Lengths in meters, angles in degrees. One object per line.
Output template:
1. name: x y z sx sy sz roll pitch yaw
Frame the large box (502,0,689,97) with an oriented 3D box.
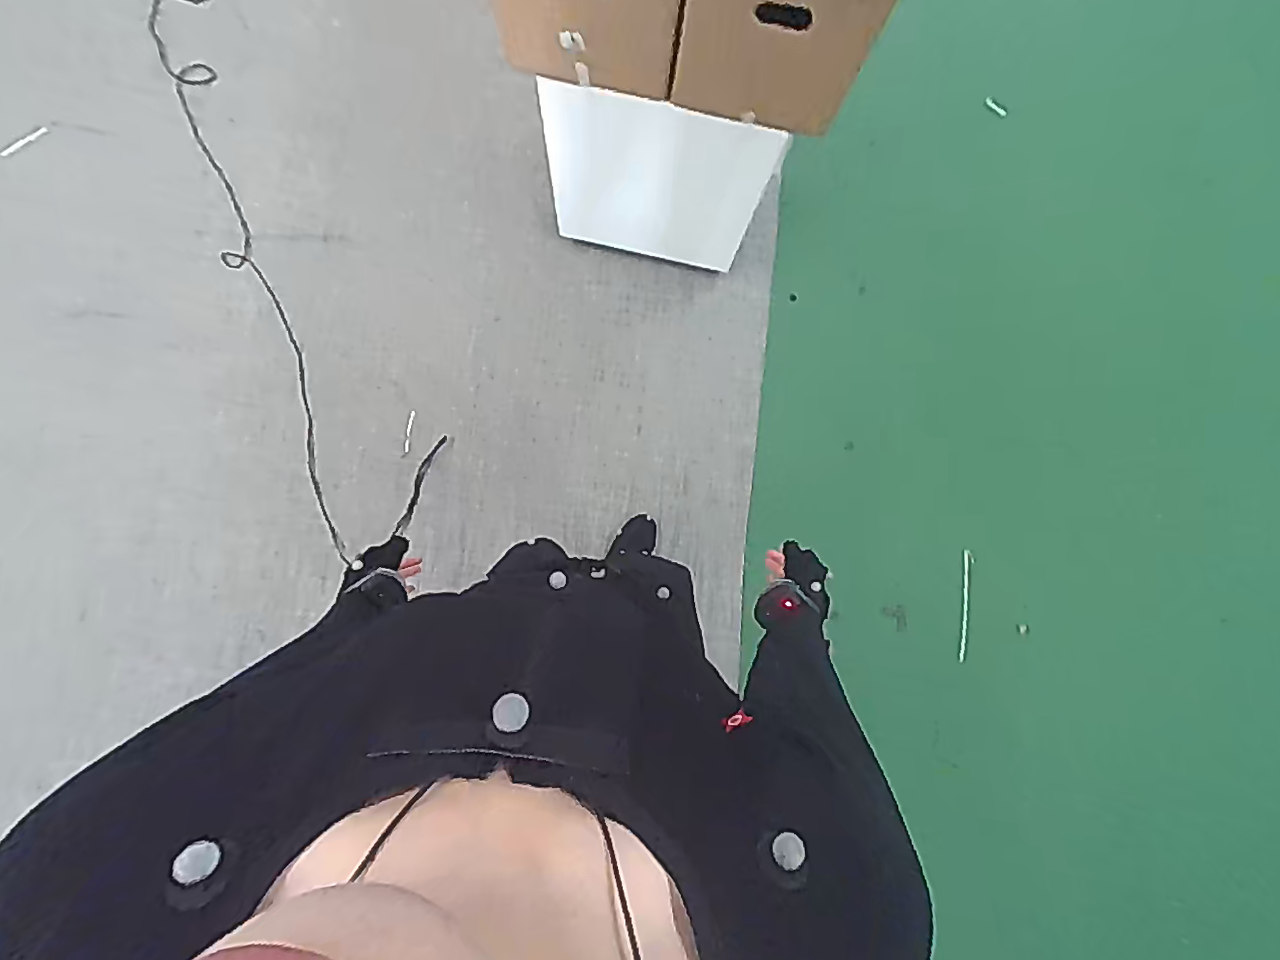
1. large box: -0.052 -0.961 0.910 0.320 0.320 0.408 11 82 -3
